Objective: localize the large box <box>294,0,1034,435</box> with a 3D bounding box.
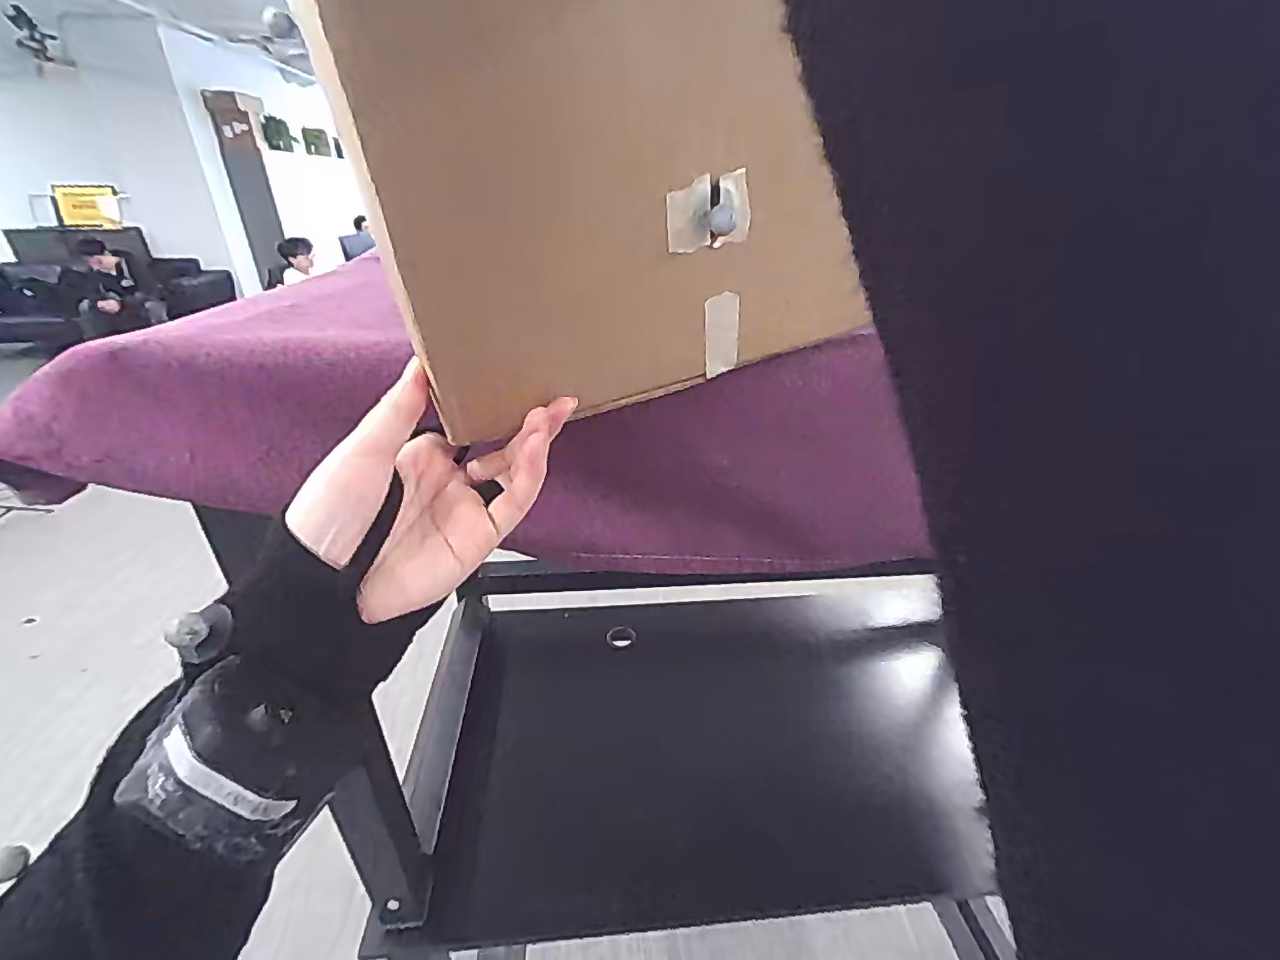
[{"bbox_3d":[-0.037,-0.291,0.332,0.320,0.320,0.408,-19,47,-19],"label":"large box"}]
